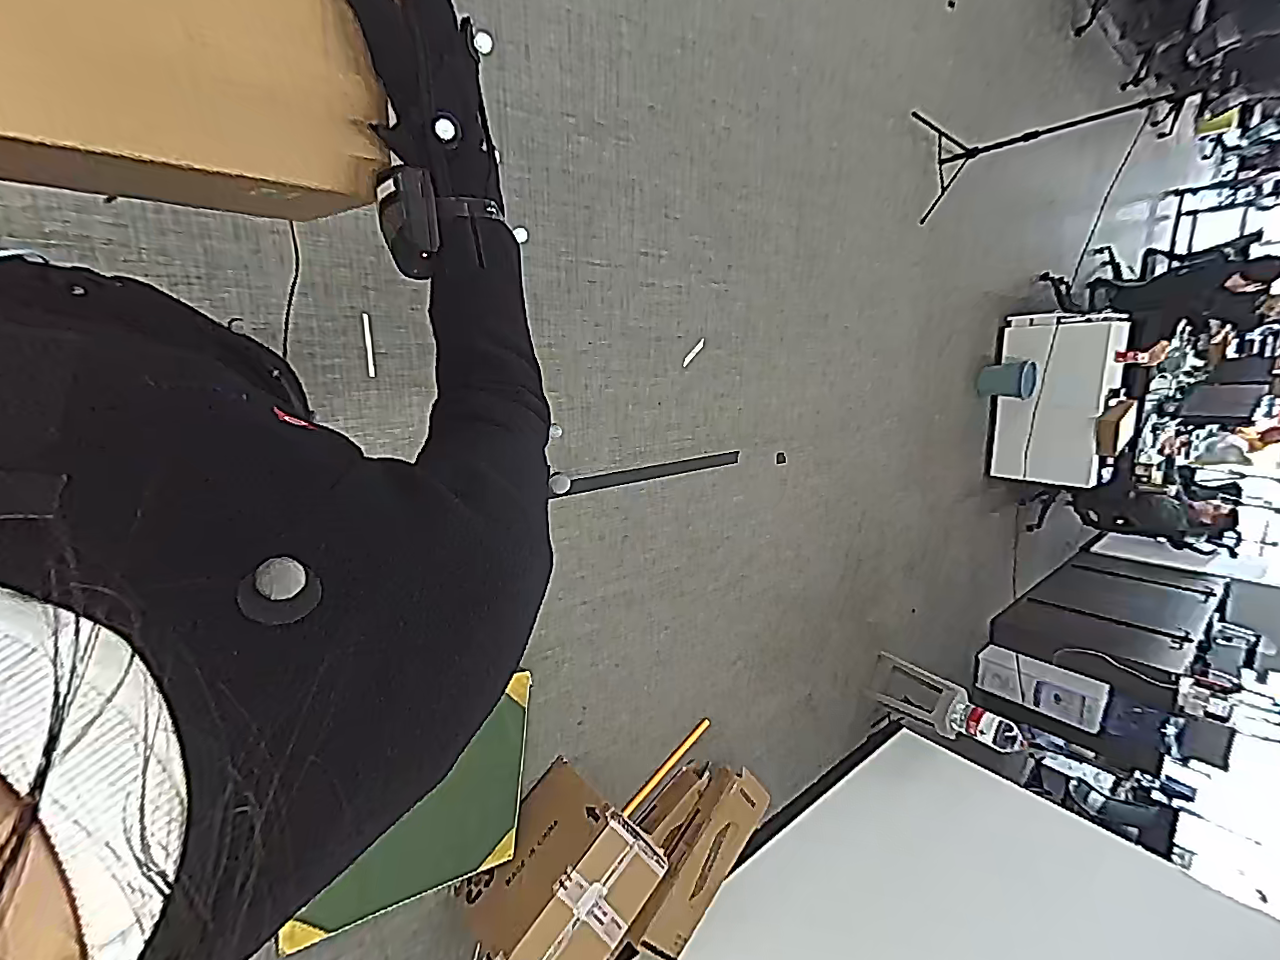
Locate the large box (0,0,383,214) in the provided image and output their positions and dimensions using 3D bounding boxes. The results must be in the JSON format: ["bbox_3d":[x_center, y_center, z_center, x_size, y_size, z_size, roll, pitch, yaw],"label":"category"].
[{"bbox_3d":[-0.440,-0.382,0.361,0.408,0.320,0.320,-11,115,-39],"label":"large box"}]
